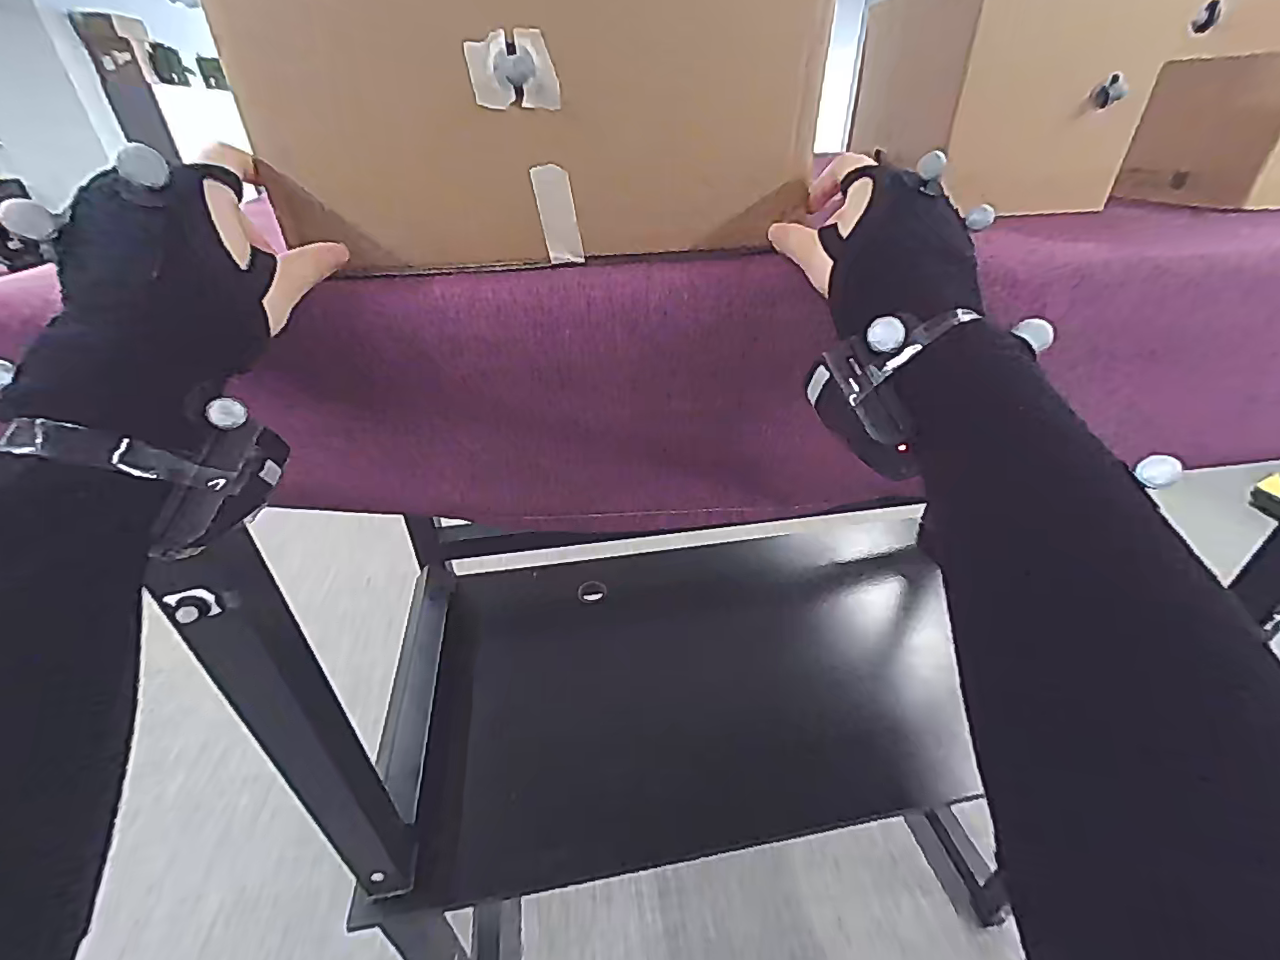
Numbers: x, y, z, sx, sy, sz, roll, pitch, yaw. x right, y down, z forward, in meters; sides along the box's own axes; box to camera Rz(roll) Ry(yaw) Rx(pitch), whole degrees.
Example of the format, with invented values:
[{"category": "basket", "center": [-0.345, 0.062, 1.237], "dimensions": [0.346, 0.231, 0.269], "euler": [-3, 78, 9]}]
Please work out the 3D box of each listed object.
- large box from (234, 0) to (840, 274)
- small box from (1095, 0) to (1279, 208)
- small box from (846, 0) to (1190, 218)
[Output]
[{"category": "large box", "center": [-0.082, -0.362, 0.408], "dimensions": [0.320, 0.320, 0.408], "euler": [-7, 33, -10]}, {"category": "small box", "center": [0.585, -0.358, 0.502], "dimensions": [0.179, 0.176, 0.168], "euler": [-7, 33, -10]}, {"category": "small box", "center": [0.317, -0.346, 0.495], "dimensions": [0.179, 0.176, 0.168], "euler": [-6, 33, -8]}]
